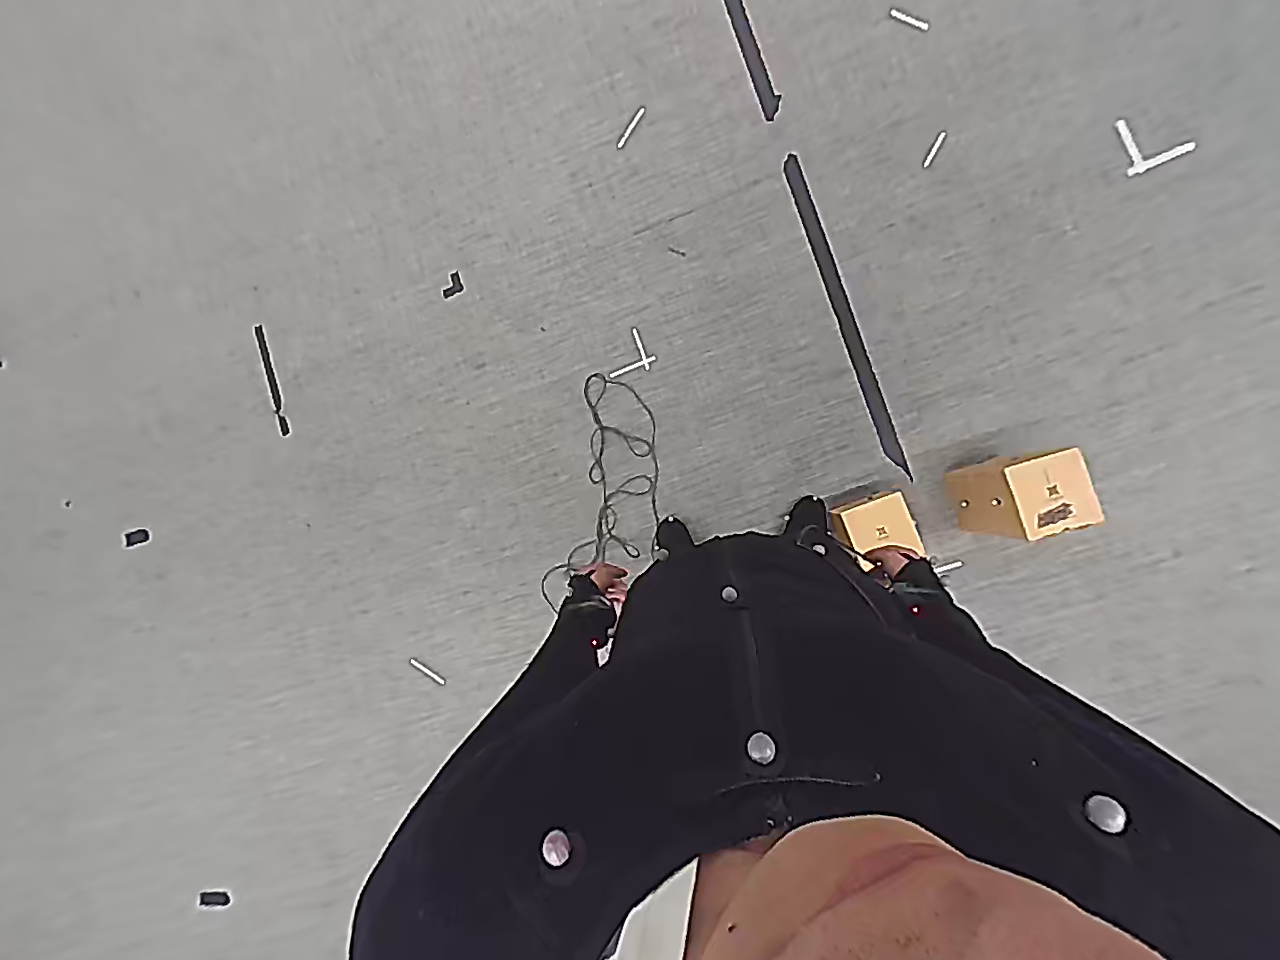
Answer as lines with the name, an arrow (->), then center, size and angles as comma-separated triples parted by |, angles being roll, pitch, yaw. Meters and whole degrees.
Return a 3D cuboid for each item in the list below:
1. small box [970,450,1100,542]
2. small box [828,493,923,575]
small box -> 0.930, 0.037, 1.291 | 0.168, 0.176, 0.179 | -18, 86, 7
small box -> 0.643, 0.145, 1.499 | 0.168, 0.176, 0.179 | -22, 86, 7
